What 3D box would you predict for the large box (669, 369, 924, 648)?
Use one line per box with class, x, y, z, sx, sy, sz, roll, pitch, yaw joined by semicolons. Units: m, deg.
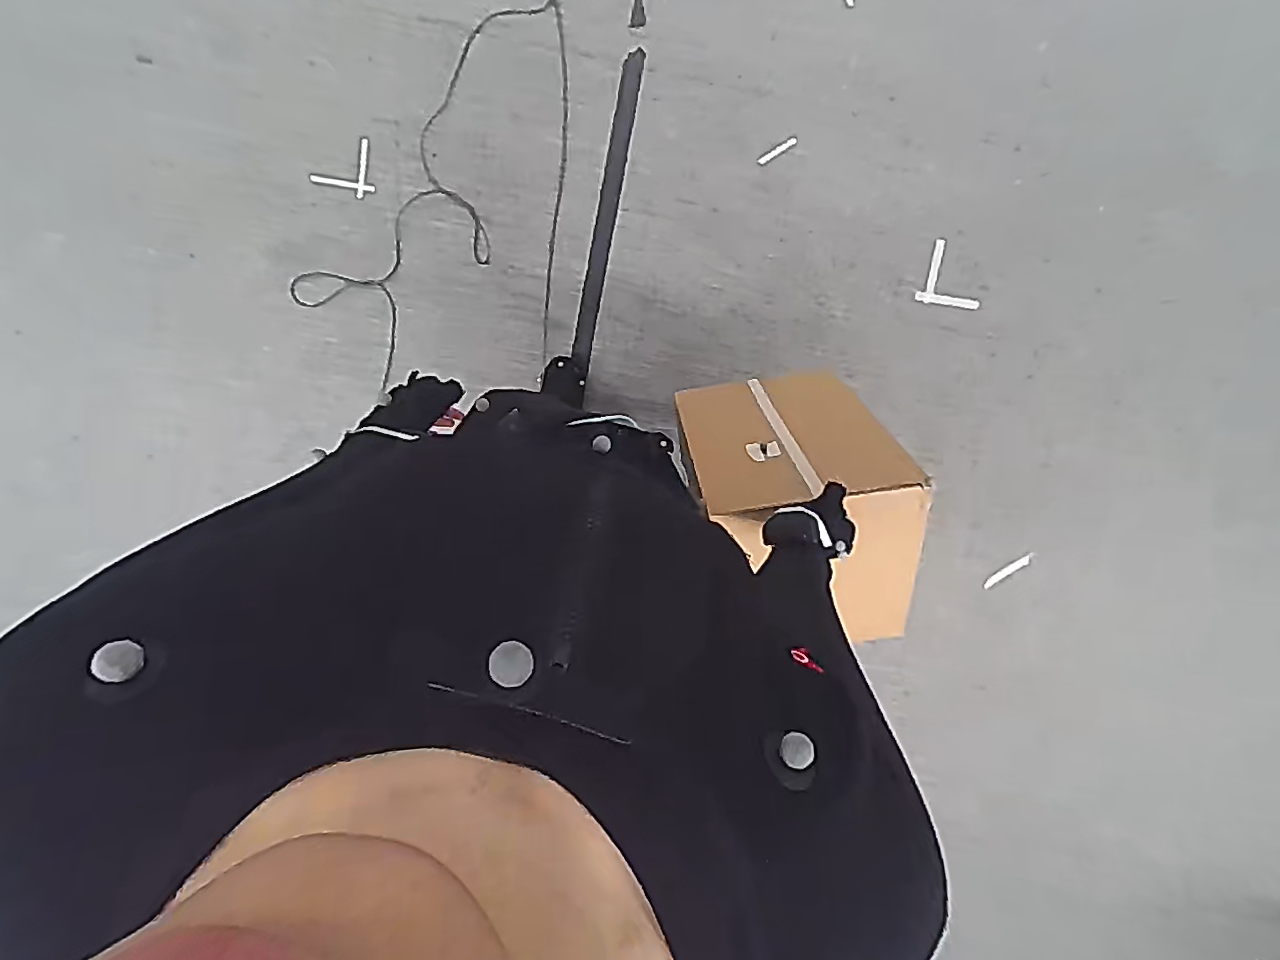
large box;0.245;0.035;0.995;0.320;0.408;0.320;-10;125;1
